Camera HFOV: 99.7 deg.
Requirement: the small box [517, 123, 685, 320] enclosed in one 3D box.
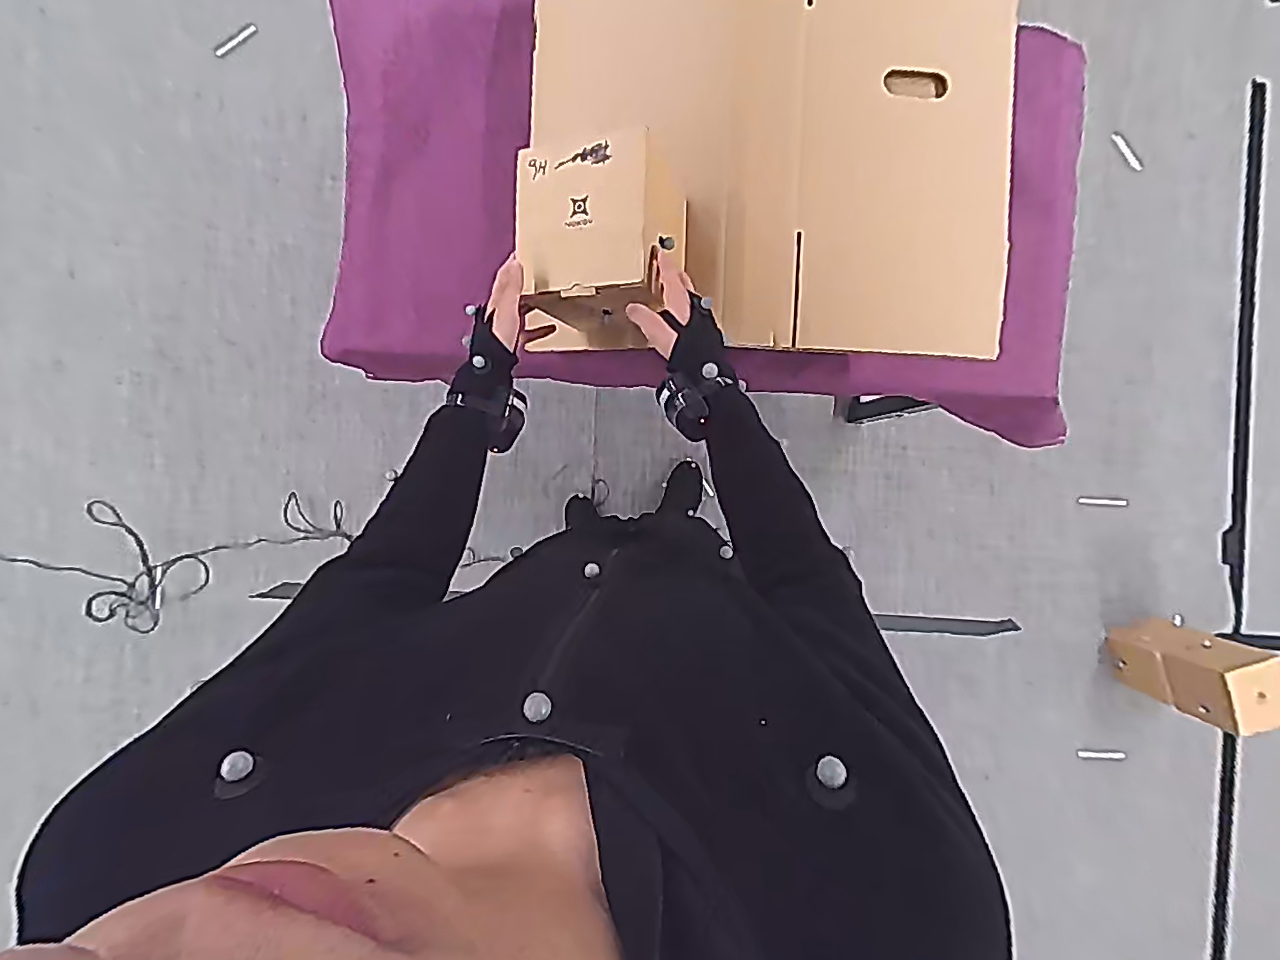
[{"bbox_3d":[-0.041,-0.310,0.695,0.168,0.176,0.179,2,93,19],"label":"small box"}]
